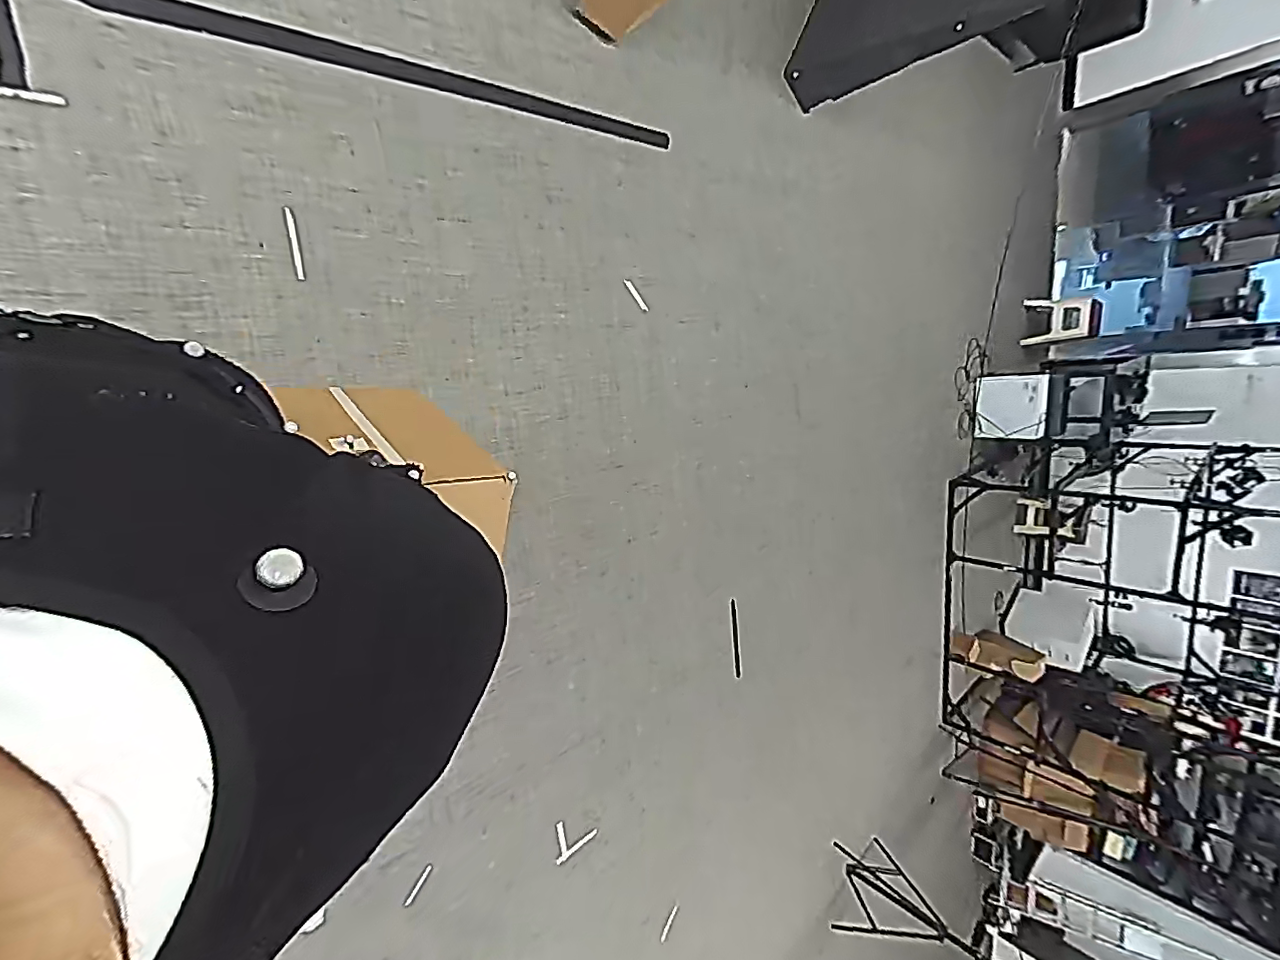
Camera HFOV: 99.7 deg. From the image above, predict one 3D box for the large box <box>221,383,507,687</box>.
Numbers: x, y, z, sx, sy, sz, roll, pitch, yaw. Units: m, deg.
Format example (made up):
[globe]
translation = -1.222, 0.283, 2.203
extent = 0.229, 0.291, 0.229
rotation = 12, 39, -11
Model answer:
[large box]
translation = -0.478, 0.056, 0.911
extent = 0.320, 0.408, 0.320
rotation = -8, 123, -41
